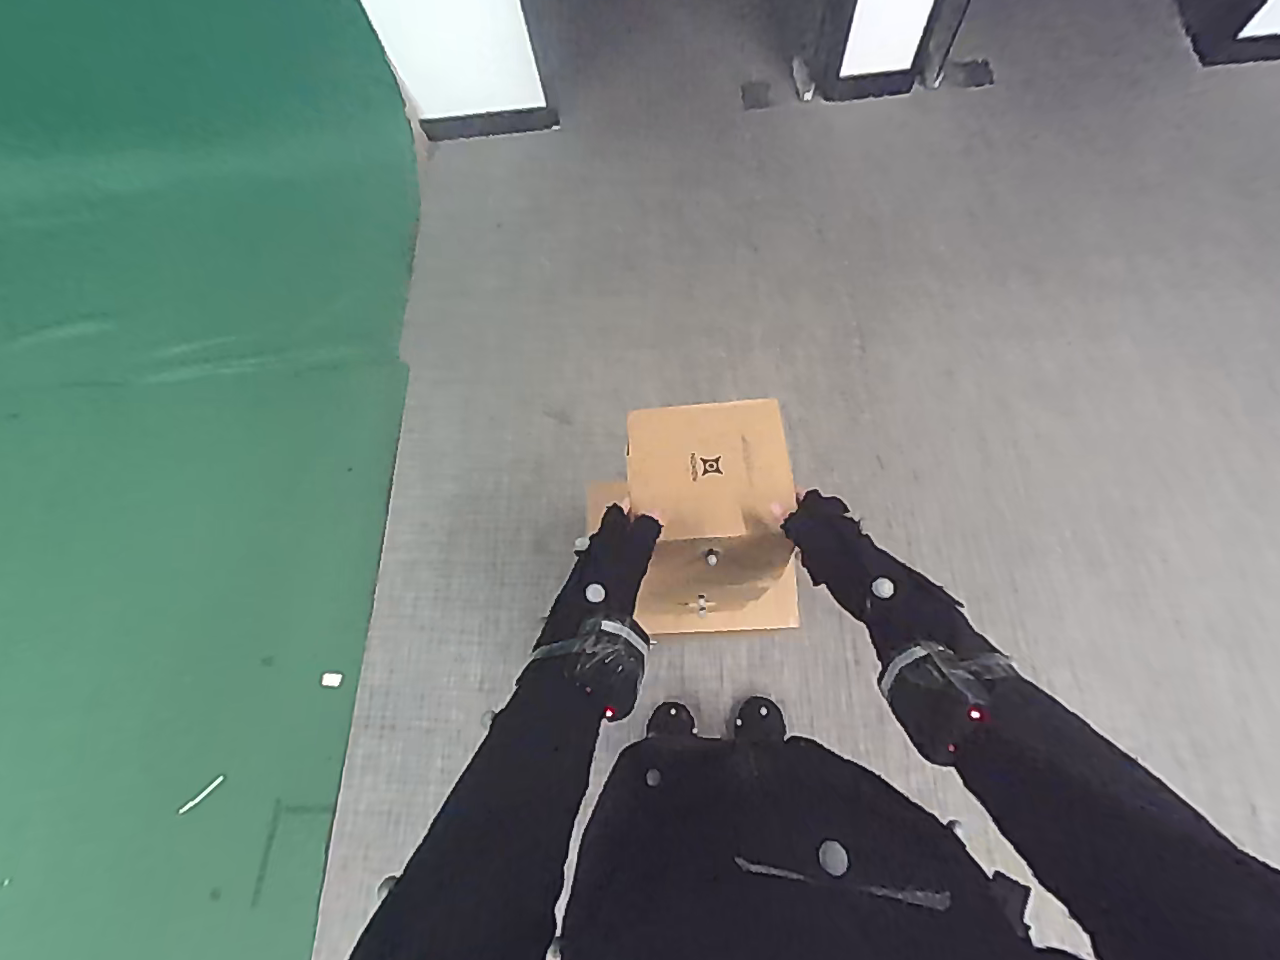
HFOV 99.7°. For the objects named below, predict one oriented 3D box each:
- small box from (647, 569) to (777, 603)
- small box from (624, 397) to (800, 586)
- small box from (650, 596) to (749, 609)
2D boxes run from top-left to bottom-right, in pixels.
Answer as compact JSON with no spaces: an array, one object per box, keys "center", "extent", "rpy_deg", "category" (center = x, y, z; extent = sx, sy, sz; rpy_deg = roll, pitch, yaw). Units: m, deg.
[{"center":[0.096,0.092,0.820],"extent":[0.179,0.176,0.168],"rpy_deg":[-5,71,3],"category":"small box"},{"center":[0.078,0.022,0.649],"extent":[0.179,0.176,0.168],"rpy_deg":[-5,62,2],"category":"small box"},{"center":[0.103,0.139,0.978],"extent":[0.168,0.176,0.179],"rpy_deg":[-5,72,4],"category":"small box"}]
